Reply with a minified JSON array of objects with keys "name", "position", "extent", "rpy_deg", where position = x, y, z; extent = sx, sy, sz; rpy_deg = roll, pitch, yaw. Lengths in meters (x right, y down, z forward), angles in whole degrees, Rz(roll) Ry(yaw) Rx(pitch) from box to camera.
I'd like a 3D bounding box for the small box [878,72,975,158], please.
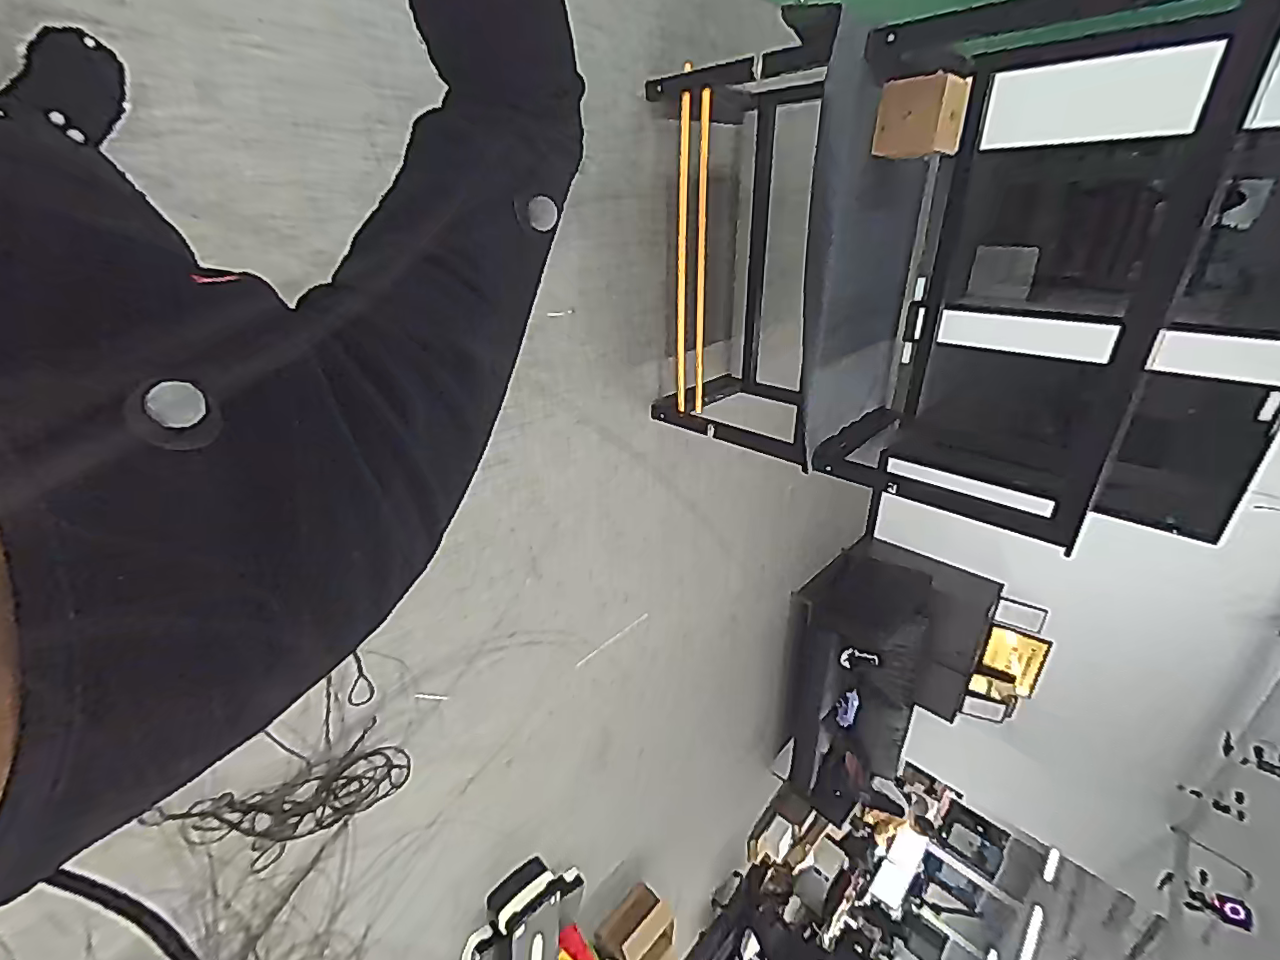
[{"name":"small box","position":[0.765,-0.971,1.453],"extent":[0.179,0.176,0.168],"rpy_deg":[-24,126,-40]}]
